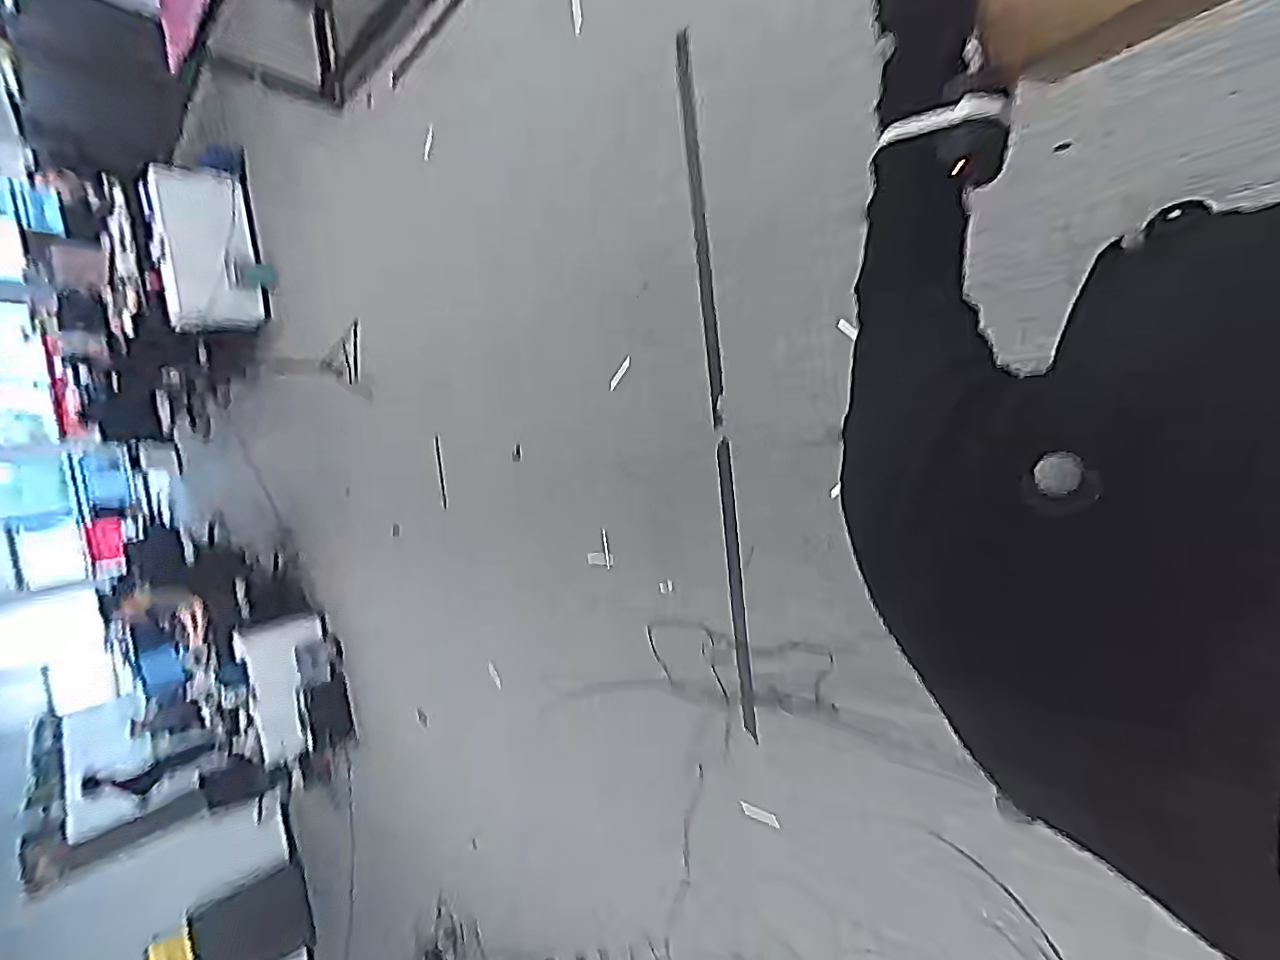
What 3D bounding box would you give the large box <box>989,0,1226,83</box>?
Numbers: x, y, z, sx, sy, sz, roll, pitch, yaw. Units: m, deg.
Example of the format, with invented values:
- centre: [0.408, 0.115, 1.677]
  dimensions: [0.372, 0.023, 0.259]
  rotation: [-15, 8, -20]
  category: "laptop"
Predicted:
- centre: [0.454, -0.534, 0.338]
  dimensions: [0.408, 0.320, 0.320]
  rotation: [-6, 113, 45]
  category: "large box"
